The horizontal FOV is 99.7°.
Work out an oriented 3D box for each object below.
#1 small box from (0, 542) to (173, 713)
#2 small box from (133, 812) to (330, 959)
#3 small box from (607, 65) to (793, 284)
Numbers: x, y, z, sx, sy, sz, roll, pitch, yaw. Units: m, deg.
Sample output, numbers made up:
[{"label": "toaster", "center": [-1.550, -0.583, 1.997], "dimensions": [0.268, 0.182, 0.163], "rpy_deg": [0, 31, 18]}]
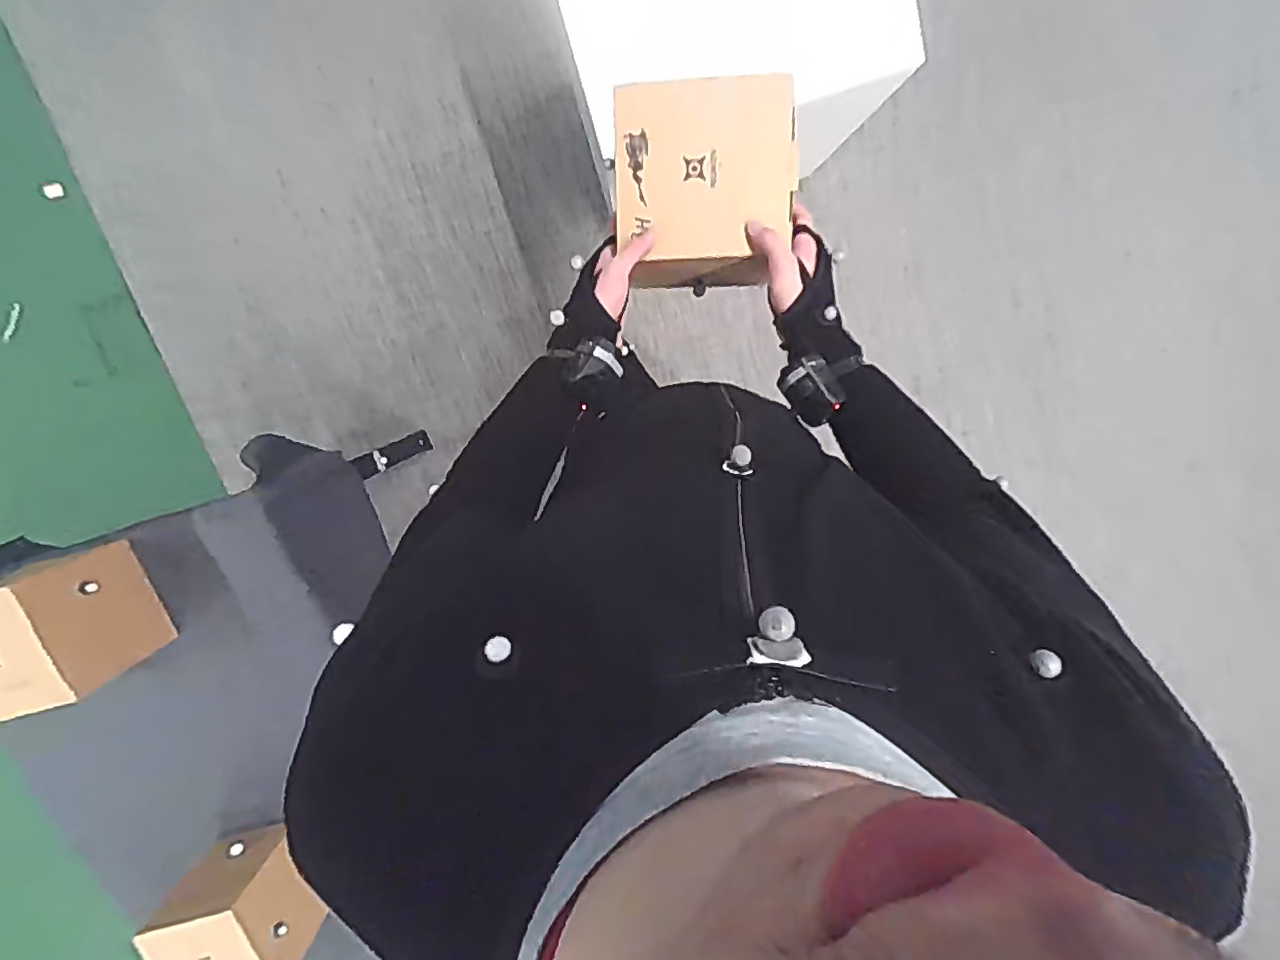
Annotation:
[{"label": "small box", "center": [-0.845, 0.202, 0.778], "dimensions": [0.168, 0.176, 0.179], "rpy_deg": [-15, 105, 4]}, {"label": "small box", "center": [-0.663, 0.707, 0.905], "dimensions": [0.168, 0.176, 0.179], "rpy_deg": [-17, 103, 3]}, {"label": "small box", "center": [0.058, -0.319, 0.596], "dimensions": [0.179, 0.176, 0.168], "rpy_deg": [0, 99, 3]}]
